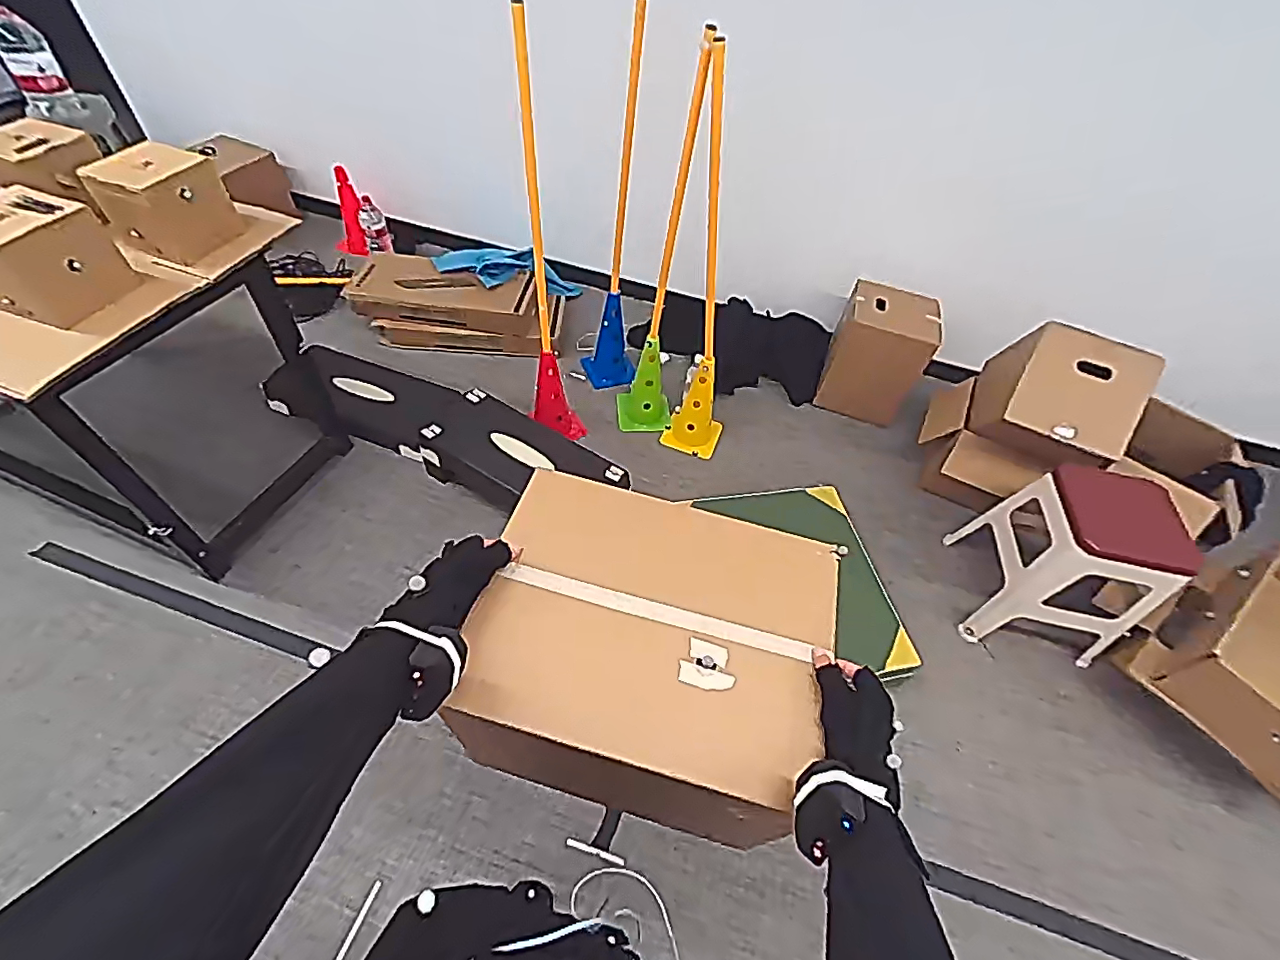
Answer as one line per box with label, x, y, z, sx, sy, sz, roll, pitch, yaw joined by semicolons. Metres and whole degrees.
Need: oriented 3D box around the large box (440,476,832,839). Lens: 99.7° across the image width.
large box;0.005;0.246;0.741;0.408;0.320;0.320;15;53;5
